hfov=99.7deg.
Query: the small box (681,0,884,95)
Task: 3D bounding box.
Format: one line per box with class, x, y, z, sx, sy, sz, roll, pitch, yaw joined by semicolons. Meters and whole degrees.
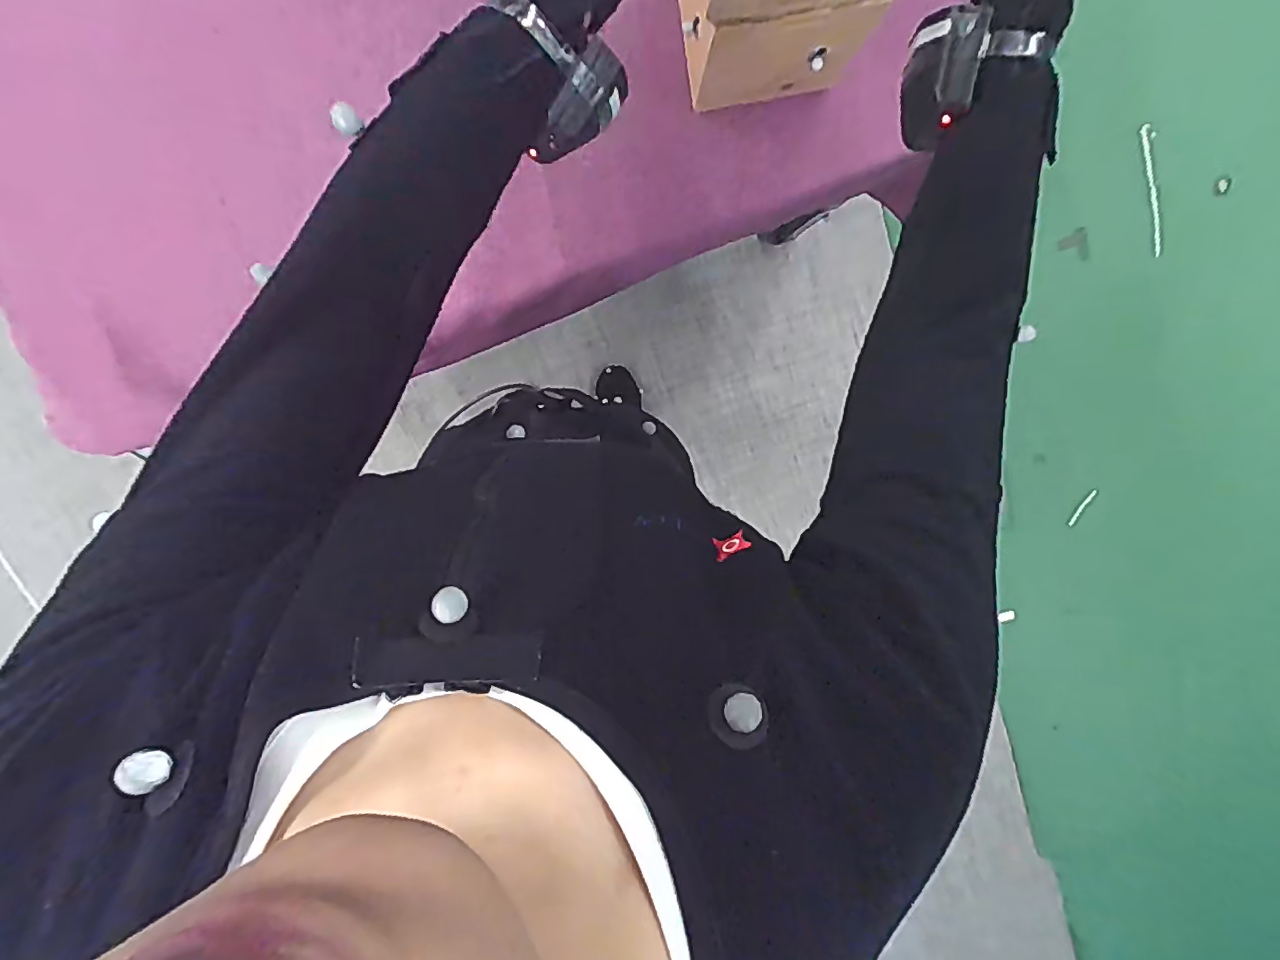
small box;0.132;-0.518;0.537;0.168;0.176;0.179;-10;102;1
